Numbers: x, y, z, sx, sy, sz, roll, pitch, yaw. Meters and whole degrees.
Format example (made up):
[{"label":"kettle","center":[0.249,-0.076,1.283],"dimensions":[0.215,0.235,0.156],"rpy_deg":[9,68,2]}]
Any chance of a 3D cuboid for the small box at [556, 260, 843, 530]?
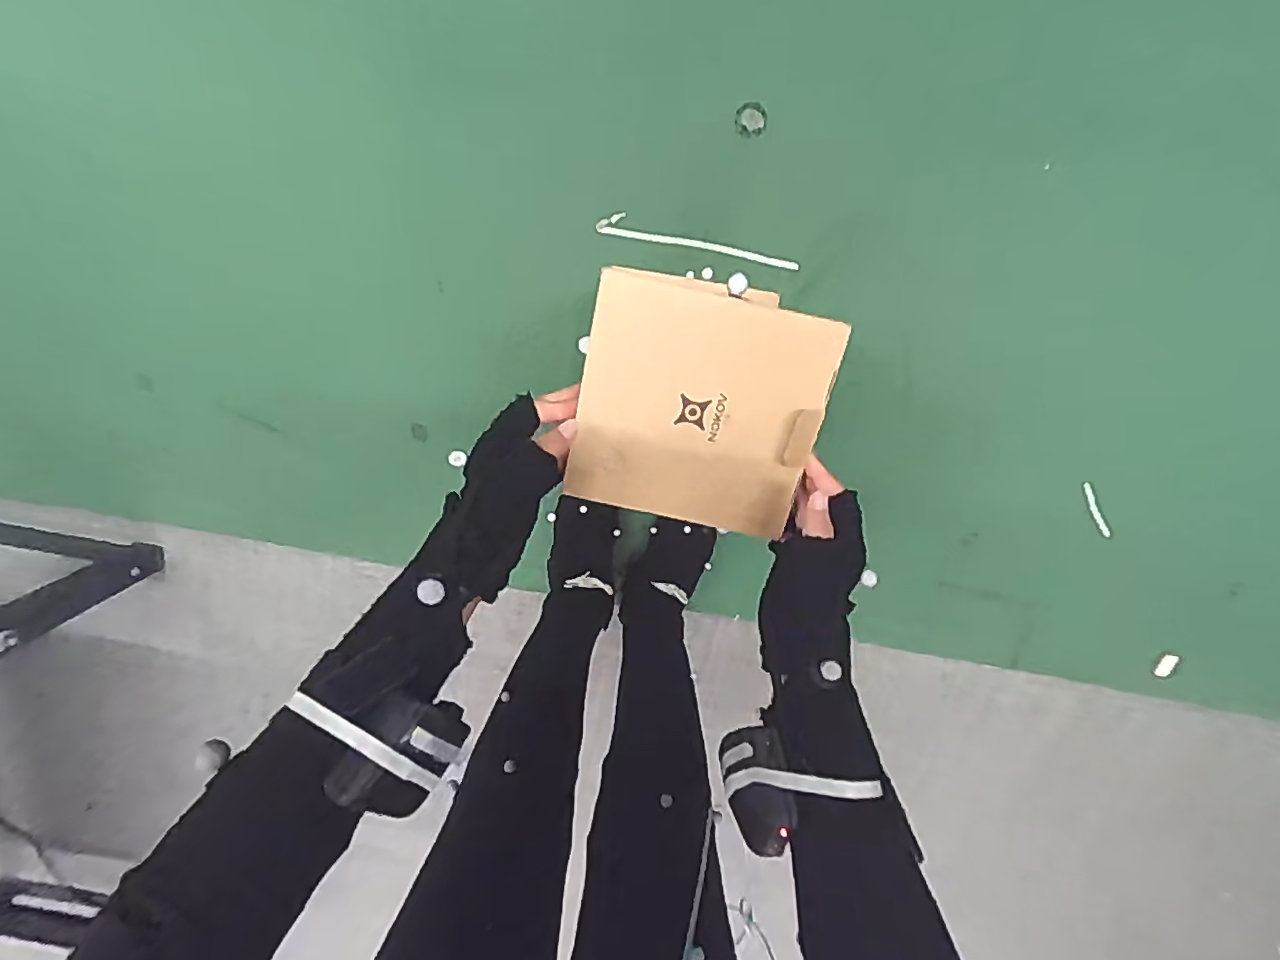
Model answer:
[{"label":"small box","center":[0.039,-0.078,0.464],"dimensions":[0.179,0.176,0.168],"rpy_deg":[12,108,-3]}]
